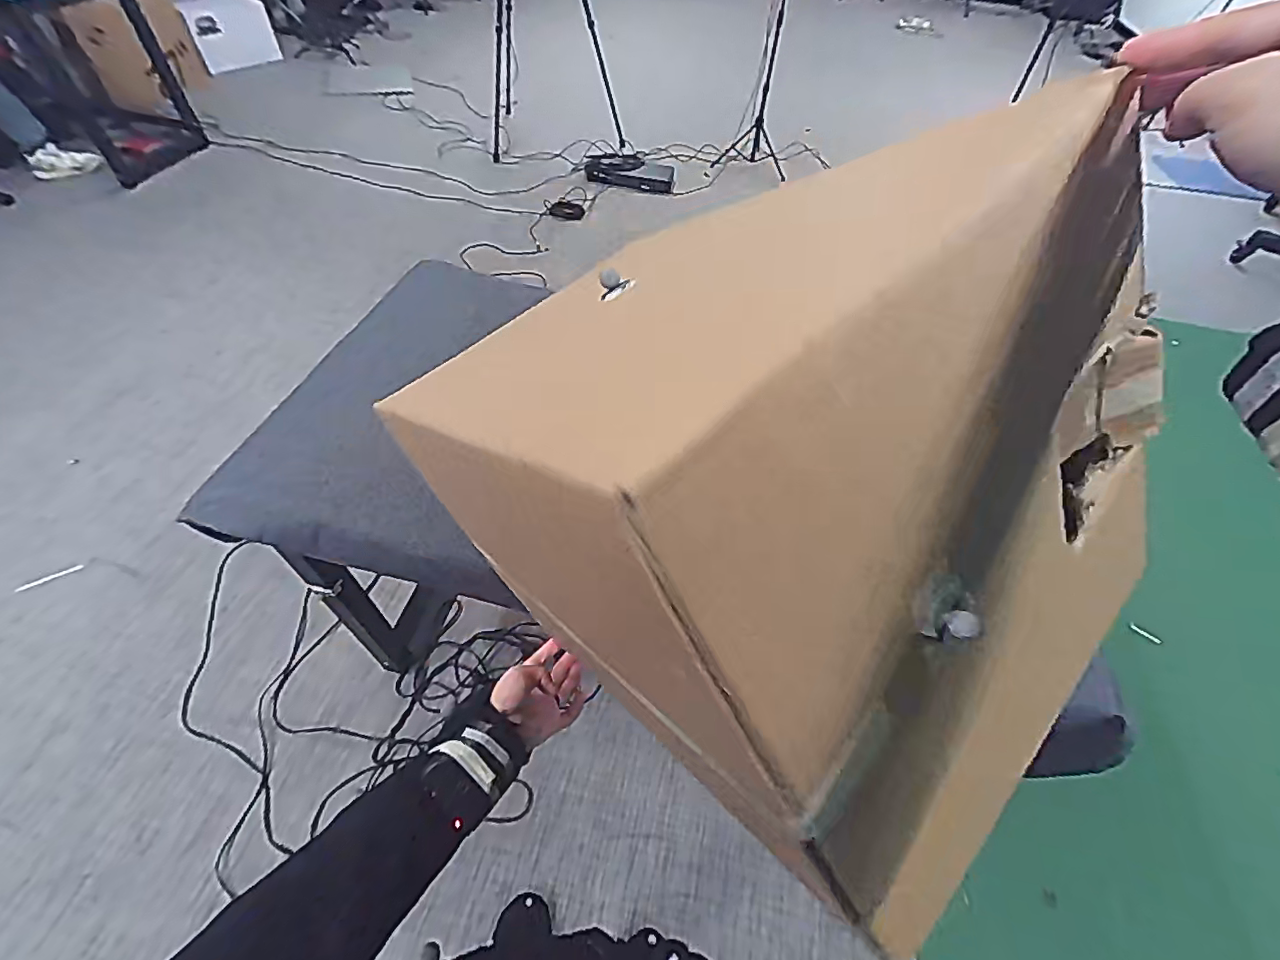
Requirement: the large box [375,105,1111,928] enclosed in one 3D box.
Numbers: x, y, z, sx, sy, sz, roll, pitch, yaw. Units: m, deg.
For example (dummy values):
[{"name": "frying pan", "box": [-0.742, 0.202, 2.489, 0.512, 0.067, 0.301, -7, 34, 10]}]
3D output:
[{"name": "large box", "box": [0.059, 0.002, 0.417, 0.320, 0.320, 0.408, -42, 31, -22]}]
